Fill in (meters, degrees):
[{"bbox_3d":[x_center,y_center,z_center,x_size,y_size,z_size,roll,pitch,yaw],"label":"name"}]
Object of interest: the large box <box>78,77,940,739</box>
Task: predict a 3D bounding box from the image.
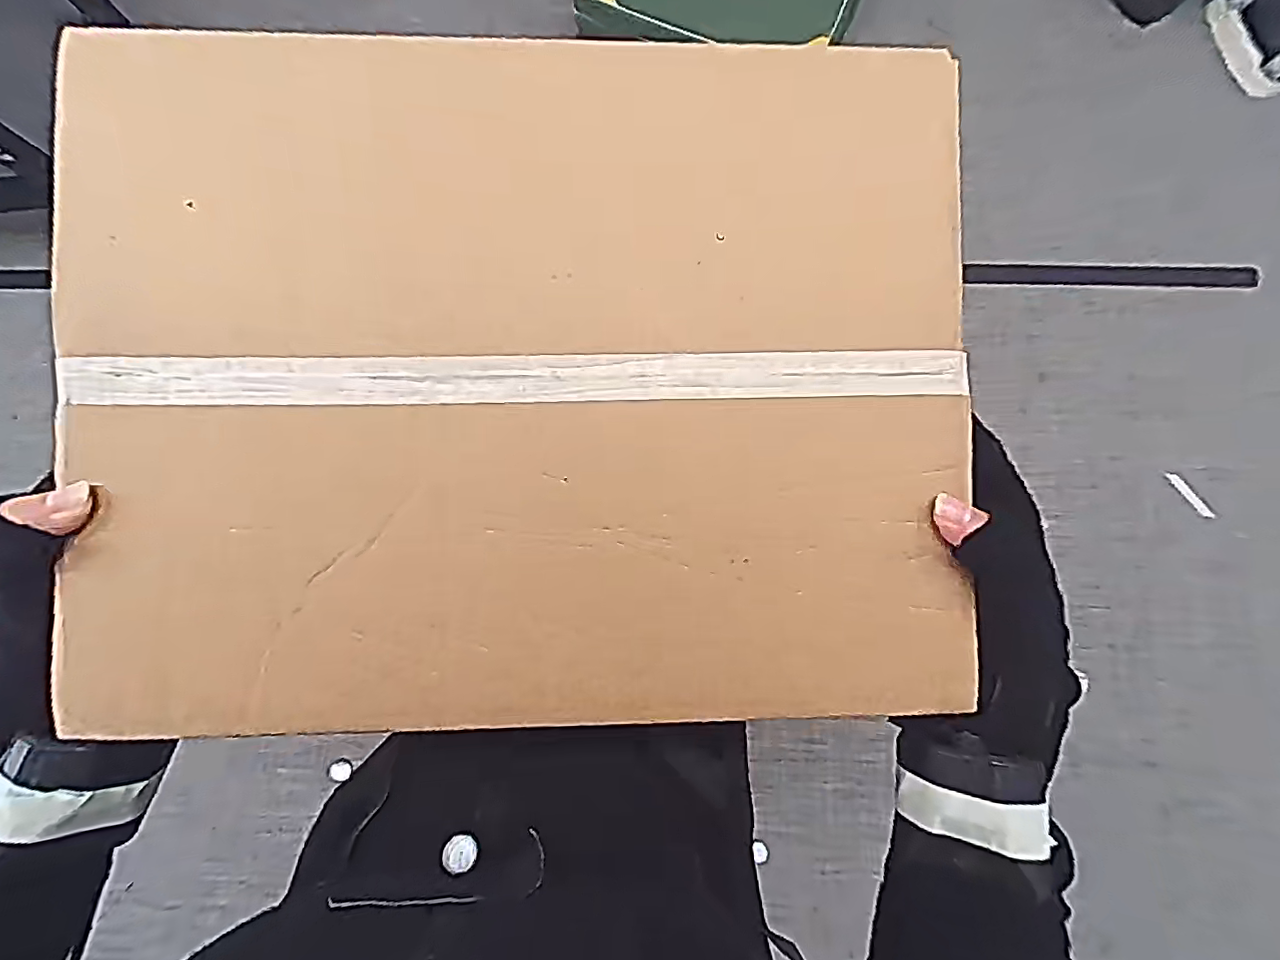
[{"bbox_3d":[-0.060,-0.038,0.405,0.408,0.320,0.320,-1,88,-2],"label":"large box"}]
